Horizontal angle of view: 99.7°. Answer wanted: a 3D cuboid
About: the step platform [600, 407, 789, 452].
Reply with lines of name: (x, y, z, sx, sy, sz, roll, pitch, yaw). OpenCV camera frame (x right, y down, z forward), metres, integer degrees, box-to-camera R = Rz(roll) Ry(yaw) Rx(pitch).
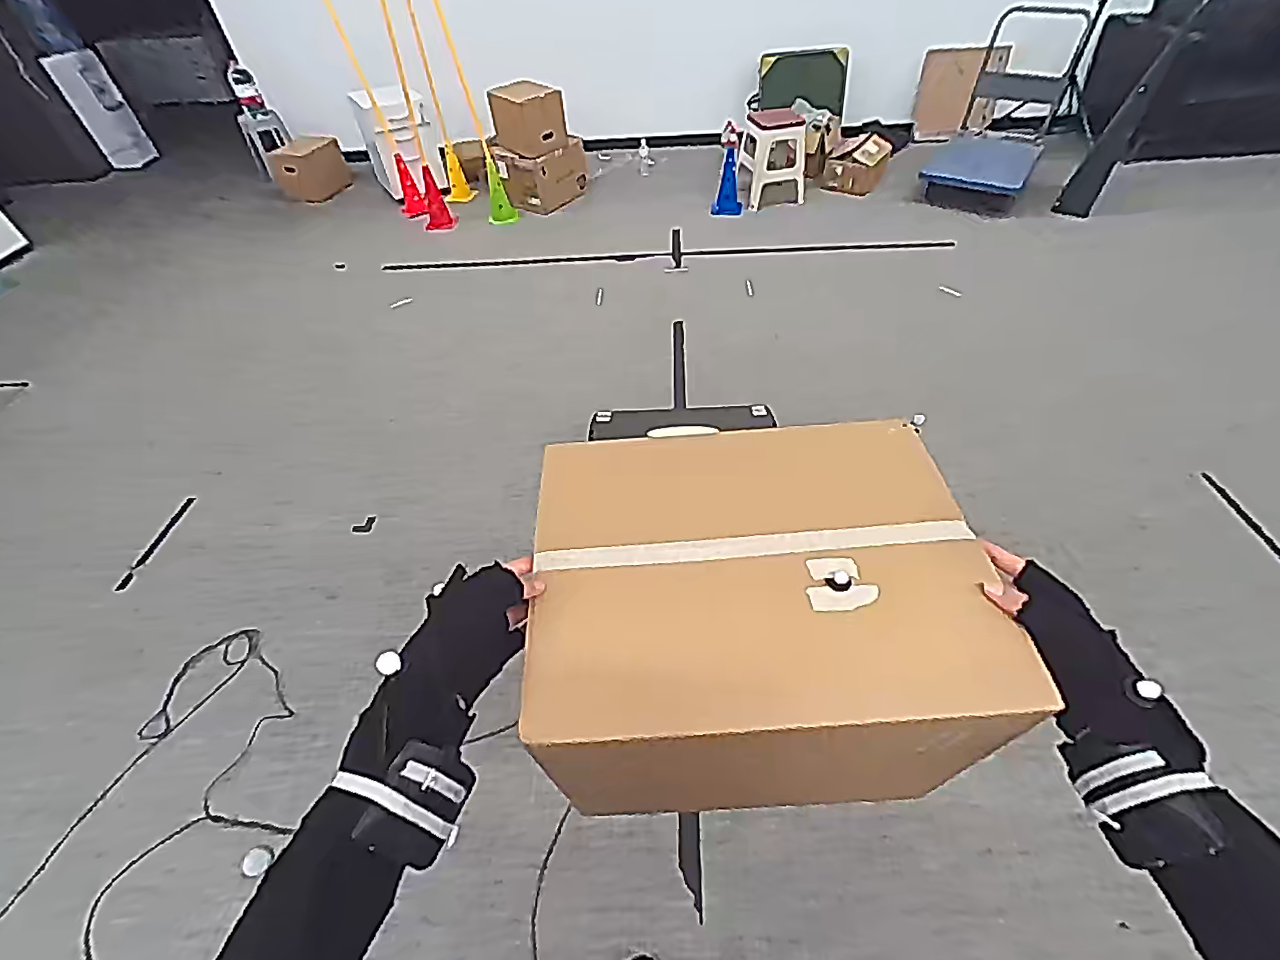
step platform: (0.195, -0.099, 1.966, 0.684, 0.204, 0.286, -2, 48, 1)

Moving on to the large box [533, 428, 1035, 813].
large box: (0.110, 0.168, 0.628, 0.408, 0.320, 0.320, -4, 50, 1)
